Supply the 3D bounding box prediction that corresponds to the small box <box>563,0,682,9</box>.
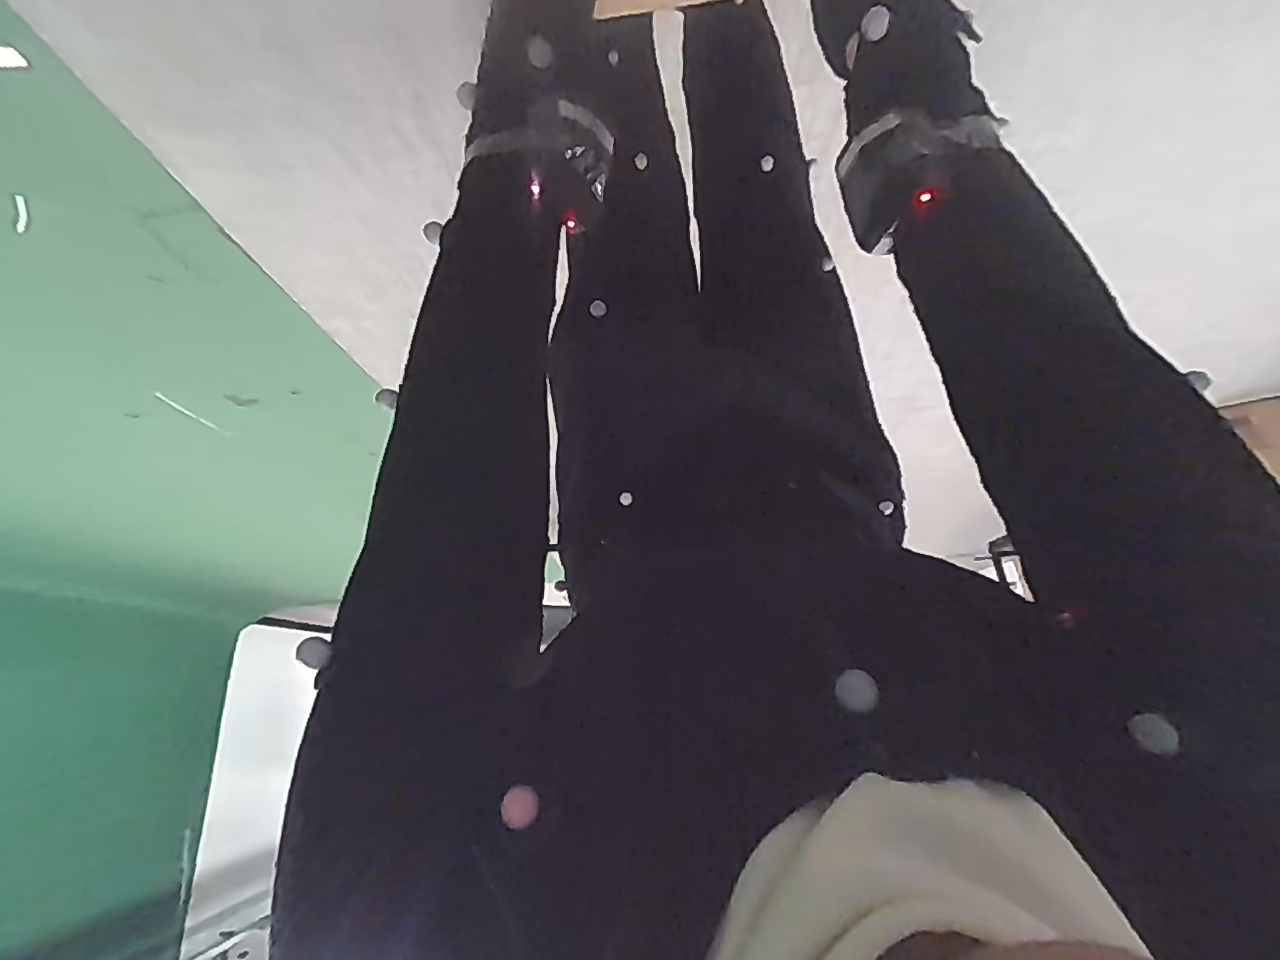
[{"bbox_3d":[0.021,-0.459,0.354,0.179,0.176,0.168,-5,157,0],"label":"small box"}]
